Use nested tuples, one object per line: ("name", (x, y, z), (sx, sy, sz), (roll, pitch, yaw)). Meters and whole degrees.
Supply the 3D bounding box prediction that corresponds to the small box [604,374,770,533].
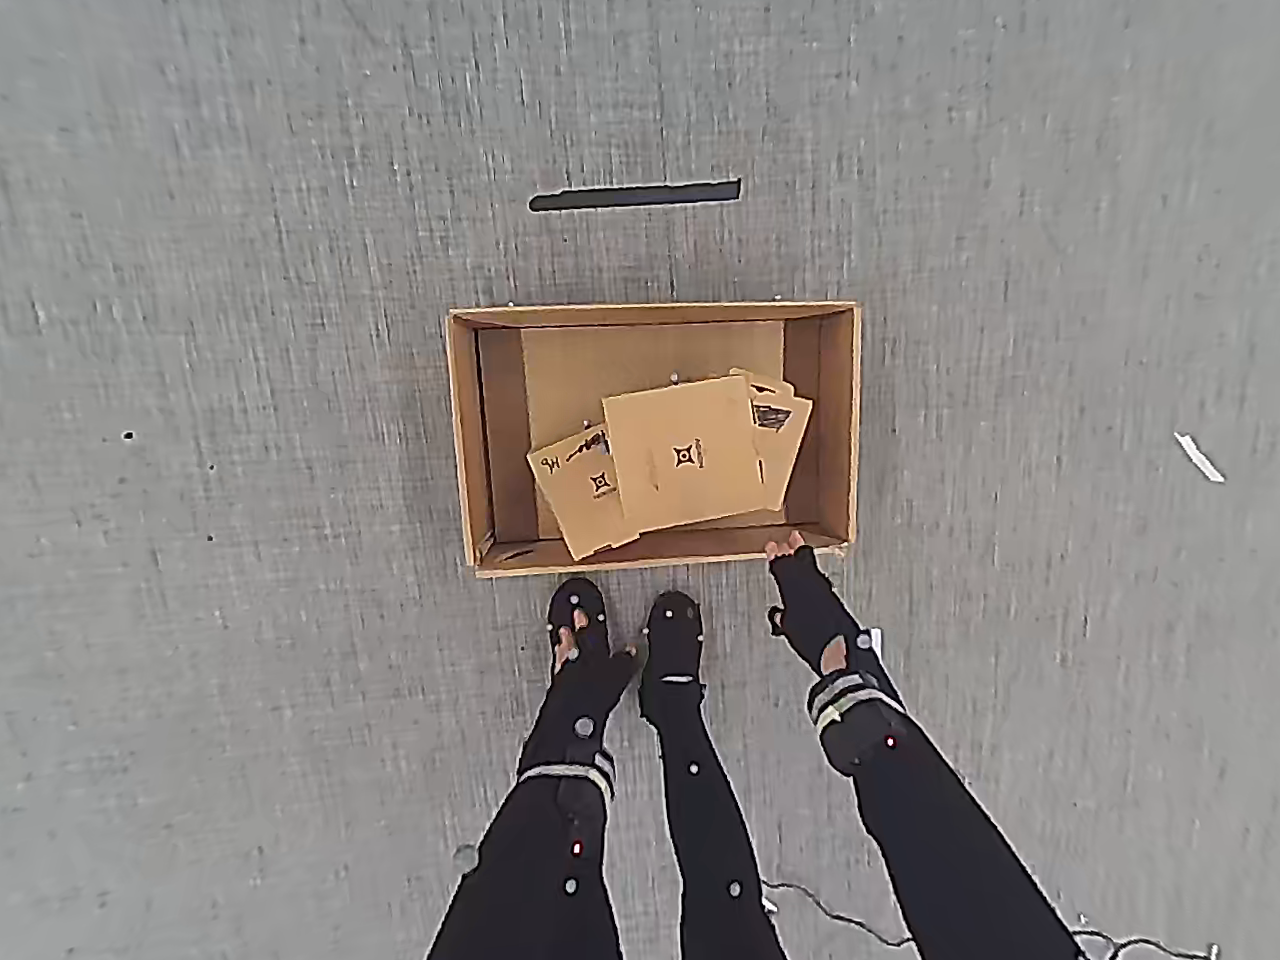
("small box", (0.052, -0.043, 0.710), (0.179, 0.176, 0.168), (-11, 99, -3))
